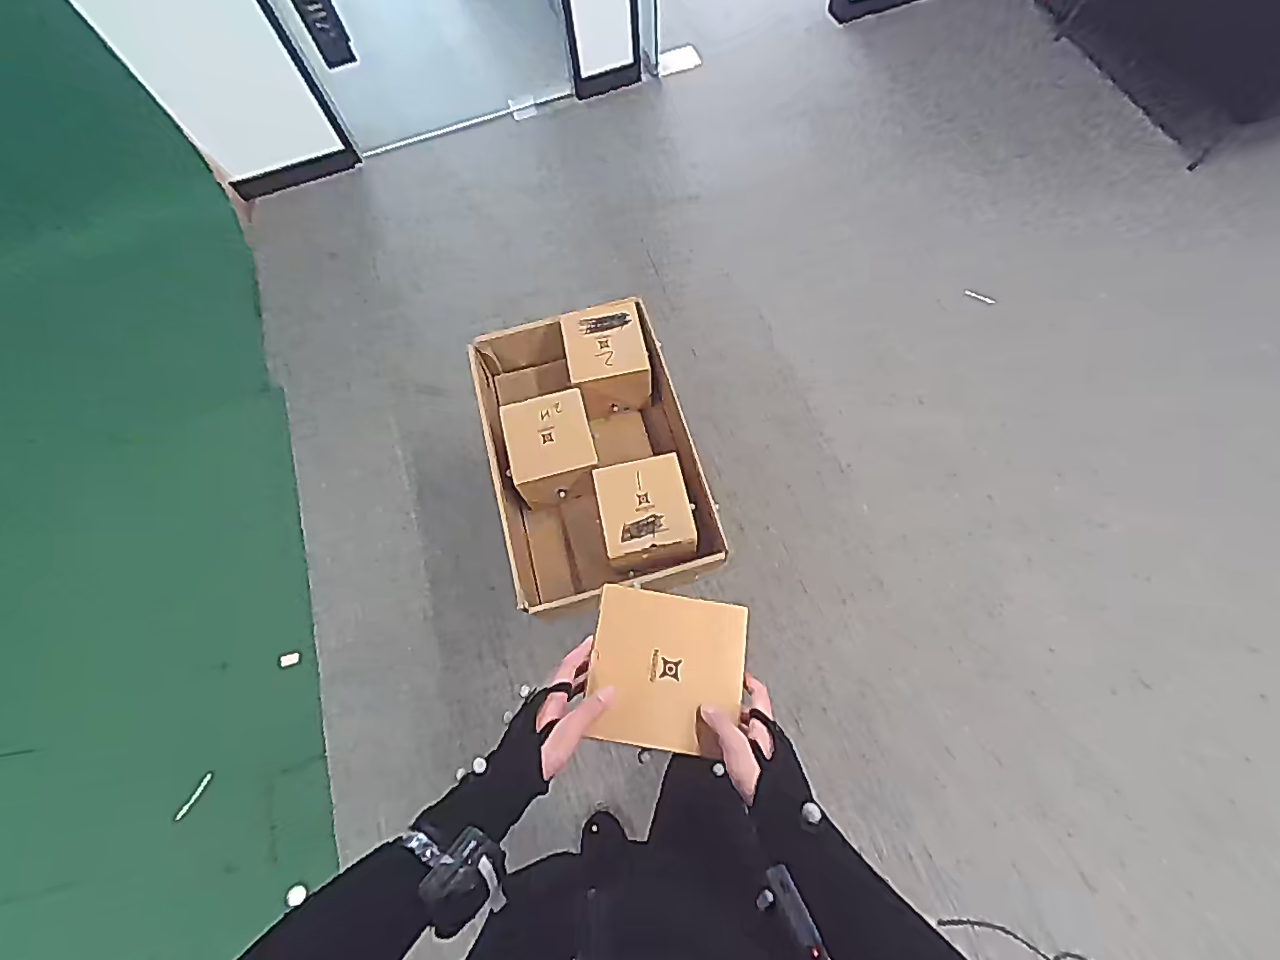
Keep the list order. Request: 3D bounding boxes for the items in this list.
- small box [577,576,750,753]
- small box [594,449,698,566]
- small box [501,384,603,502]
[{"bbox_3d":[0.027,0.229,0.672,0.179,0.176,0.168,9,67,1],"label":"small box"},{"bbox_3d":[0.014,0.063,1.055,0.168,0.176,0.179,-13,70,-1],"label":"small box"},{"bbox_3d":[-0.172,-0.066,1.115,0.168,0.176,0.179,-15,70,-3],"label":"small box"}]
